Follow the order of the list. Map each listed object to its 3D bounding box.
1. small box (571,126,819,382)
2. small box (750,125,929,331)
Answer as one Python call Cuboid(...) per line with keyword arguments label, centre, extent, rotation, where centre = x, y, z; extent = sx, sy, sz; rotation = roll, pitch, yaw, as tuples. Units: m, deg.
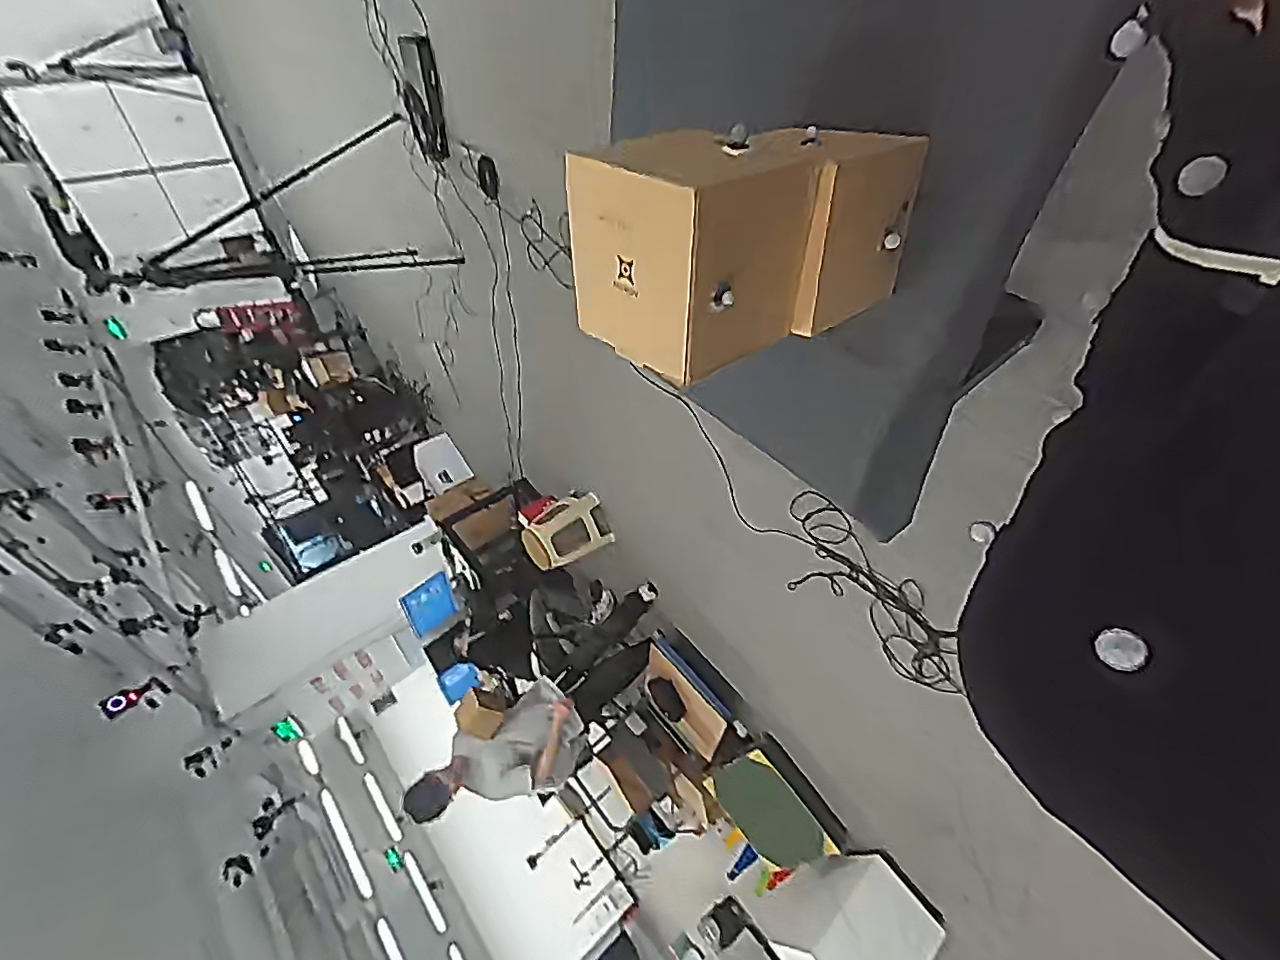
Cuboid(label="small box", centre=(0.053, -0.230, 0.538), extent=(0.168, 0.176, 0.179), rotation=(35, 142, 33))
Cuboid(label="small box", centre=(0.185, -0.293, 0.612), extent=(0.179, 0.176, 0.168), rotation=(33, 142, 37))
